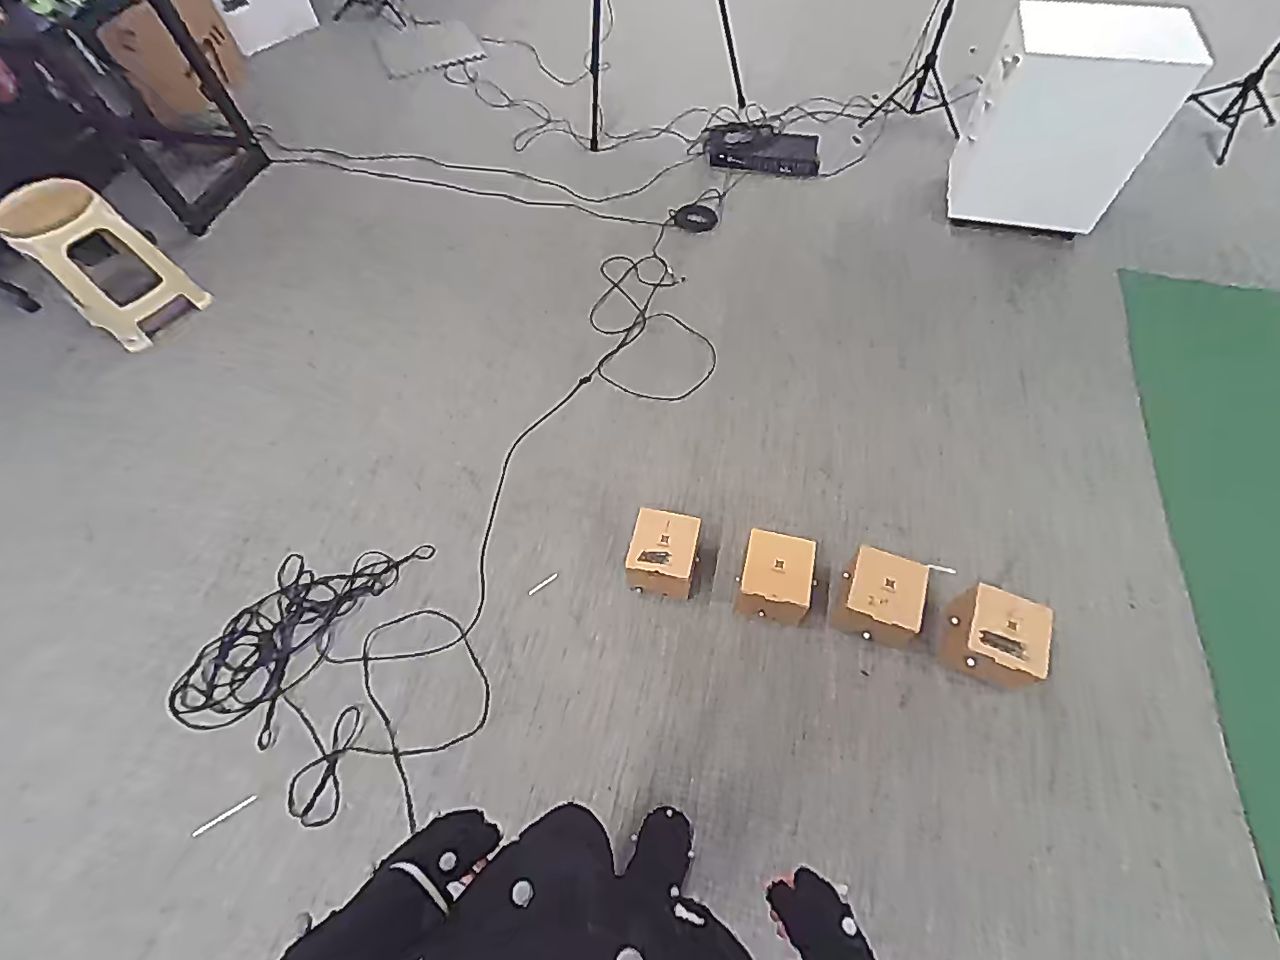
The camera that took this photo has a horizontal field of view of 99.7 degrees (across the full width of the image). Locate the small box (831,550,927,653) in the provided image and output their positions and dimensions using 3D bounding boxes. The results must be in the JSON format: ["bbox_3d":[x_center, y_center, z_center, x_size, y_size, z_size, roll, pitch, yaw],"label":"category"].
[{"bbox_3d":[0.593,0.308,1.357,0.168,0.176,0.179,18,62,14],"label":"small box"}]

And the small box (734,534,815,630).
[{"bbox_3d":[0.343,0.267,1.399,0.168,0.176,0.179,11,61,10],"label":"small box"}]

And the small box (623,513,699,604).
[{"bbox_3d":[0.061,0.214,1.446,0.168,0.176,0.179,11,59,10],"label":"small box"}]
